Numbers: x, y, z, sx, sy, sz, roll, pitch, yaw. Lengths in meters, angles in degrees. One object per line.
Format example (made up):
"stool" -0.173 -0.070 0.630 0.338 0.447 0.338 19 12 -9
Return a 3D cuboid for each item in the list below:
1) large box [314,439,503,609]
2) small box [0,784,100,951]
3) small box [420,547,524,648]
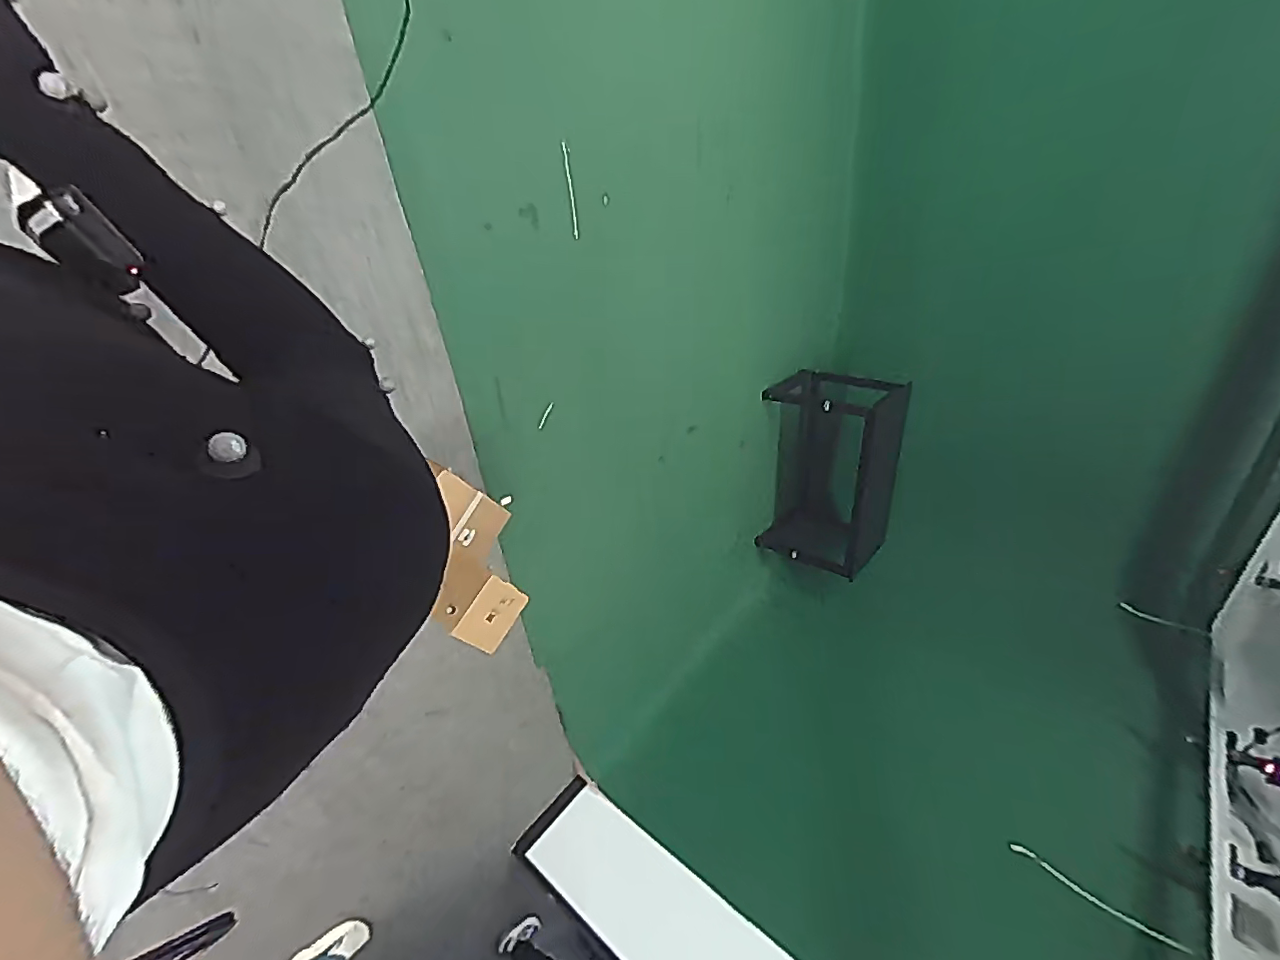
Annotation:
"large box" -0.718 0.141 1.697 0.408 0.320 0.320 -61 144 -14
"small box" -1.146 0.722 1.013 0.168 0.176 0.179 -11 112 -49
"small box" -0.448 0.306 1.424 0.179 0.176 0.168 -57 142 -17
